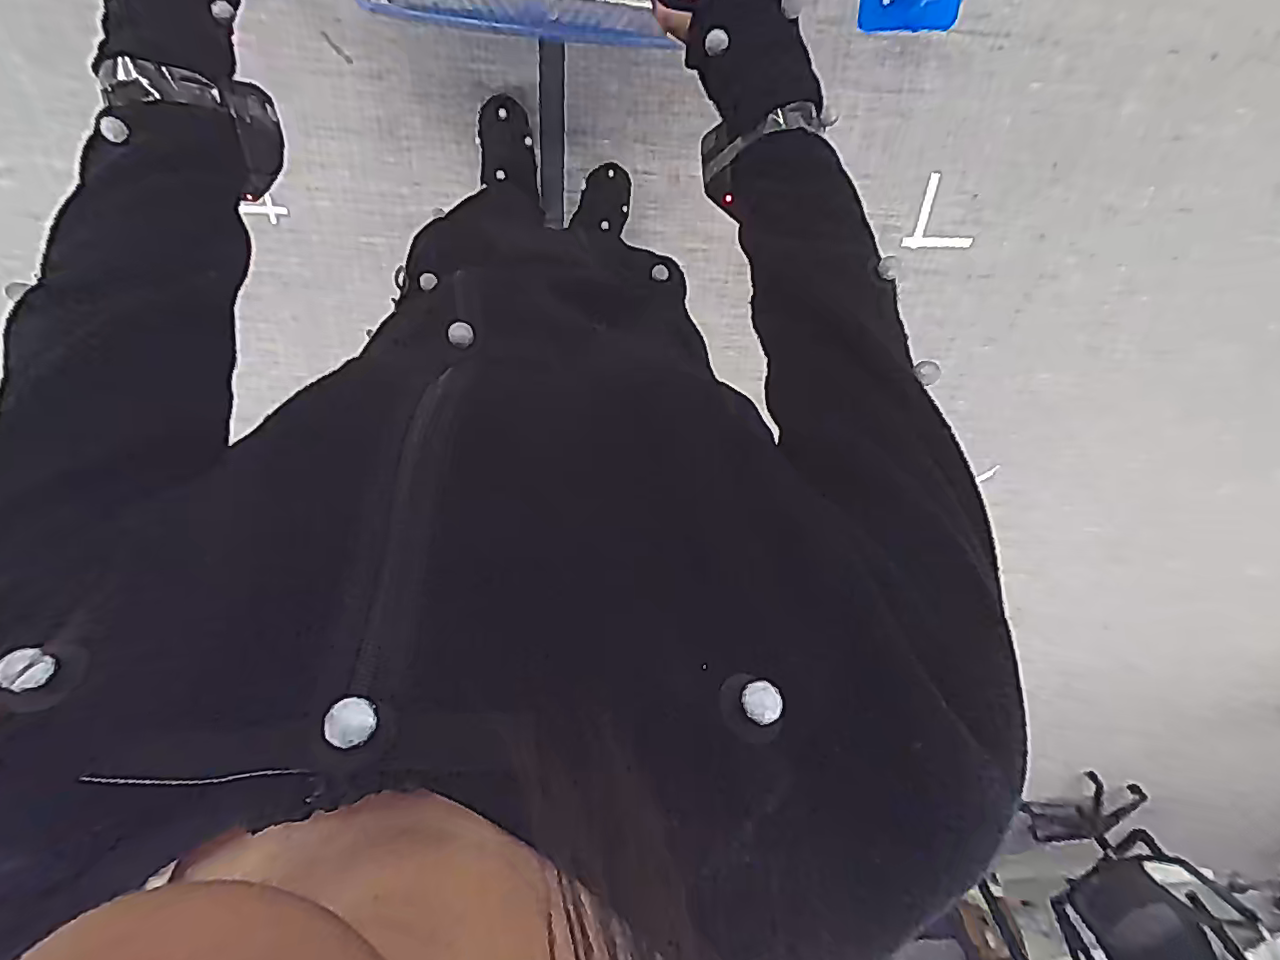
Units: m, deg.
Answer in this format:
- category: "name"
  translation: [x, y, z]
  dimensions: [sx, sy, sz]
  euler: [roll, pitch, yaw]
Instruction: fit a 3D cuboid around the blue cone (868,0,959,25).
- category: "blue cone"
  translation: [0.541, -0.888, 0.875]
  dimensions: [0.193, 0.380, 0.192]
  euler: [-2, 123, -4]
